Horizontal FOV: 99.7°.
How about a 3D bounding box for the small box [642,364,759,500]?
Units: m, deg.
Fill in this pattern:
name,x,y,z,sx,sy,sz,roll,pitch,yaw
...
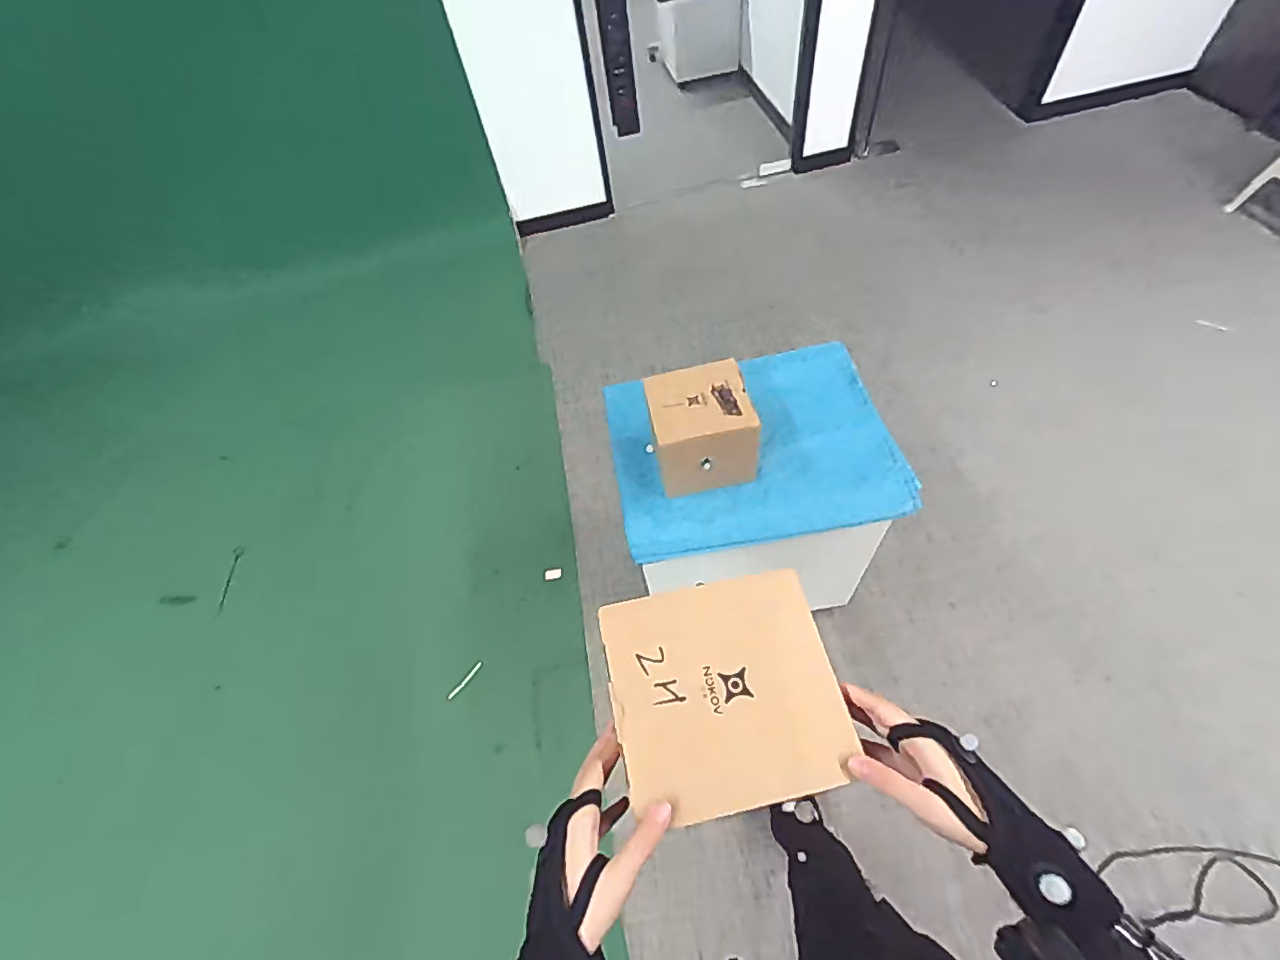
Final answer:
name,x,y,z,sx,sy,sz,roll,pitch,yaw
small box,0.109,-0.084,0.998,0.179,0.176,0.168,-12,54,0
